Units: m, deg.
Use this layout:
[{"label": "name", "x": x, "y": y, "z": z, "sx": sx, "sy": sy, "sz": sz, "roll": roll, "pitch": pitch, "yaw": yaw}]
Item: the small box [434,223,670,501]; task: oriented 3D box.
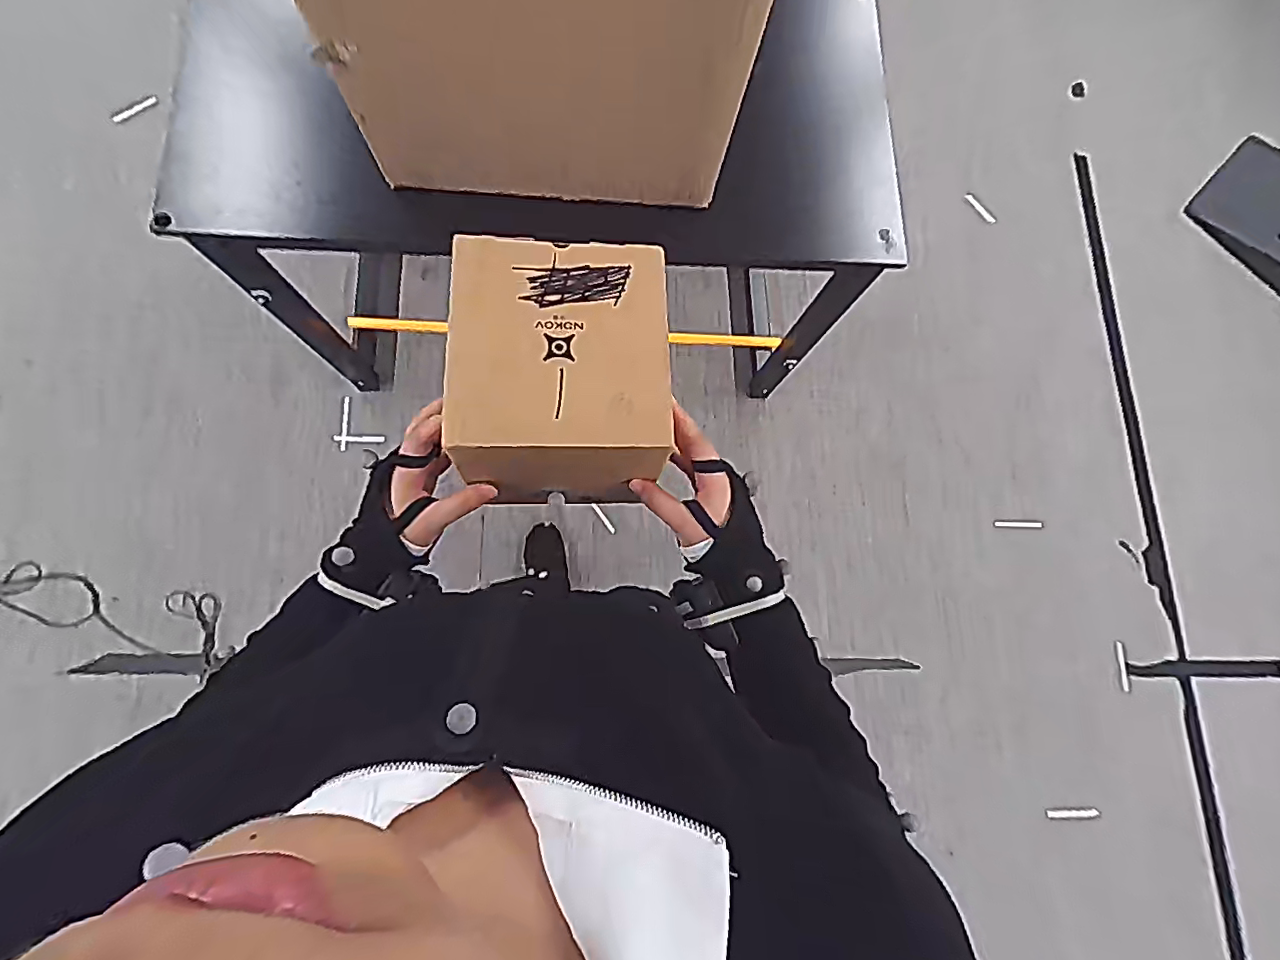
[{"label": "small box", "x": -0.070, "y": -0.087, "z": 0.473, "sx": 0.168, "sy": 0.176, "sz": 0.179, "roll": 1, "pitch": 75, "yaw": -7}]
